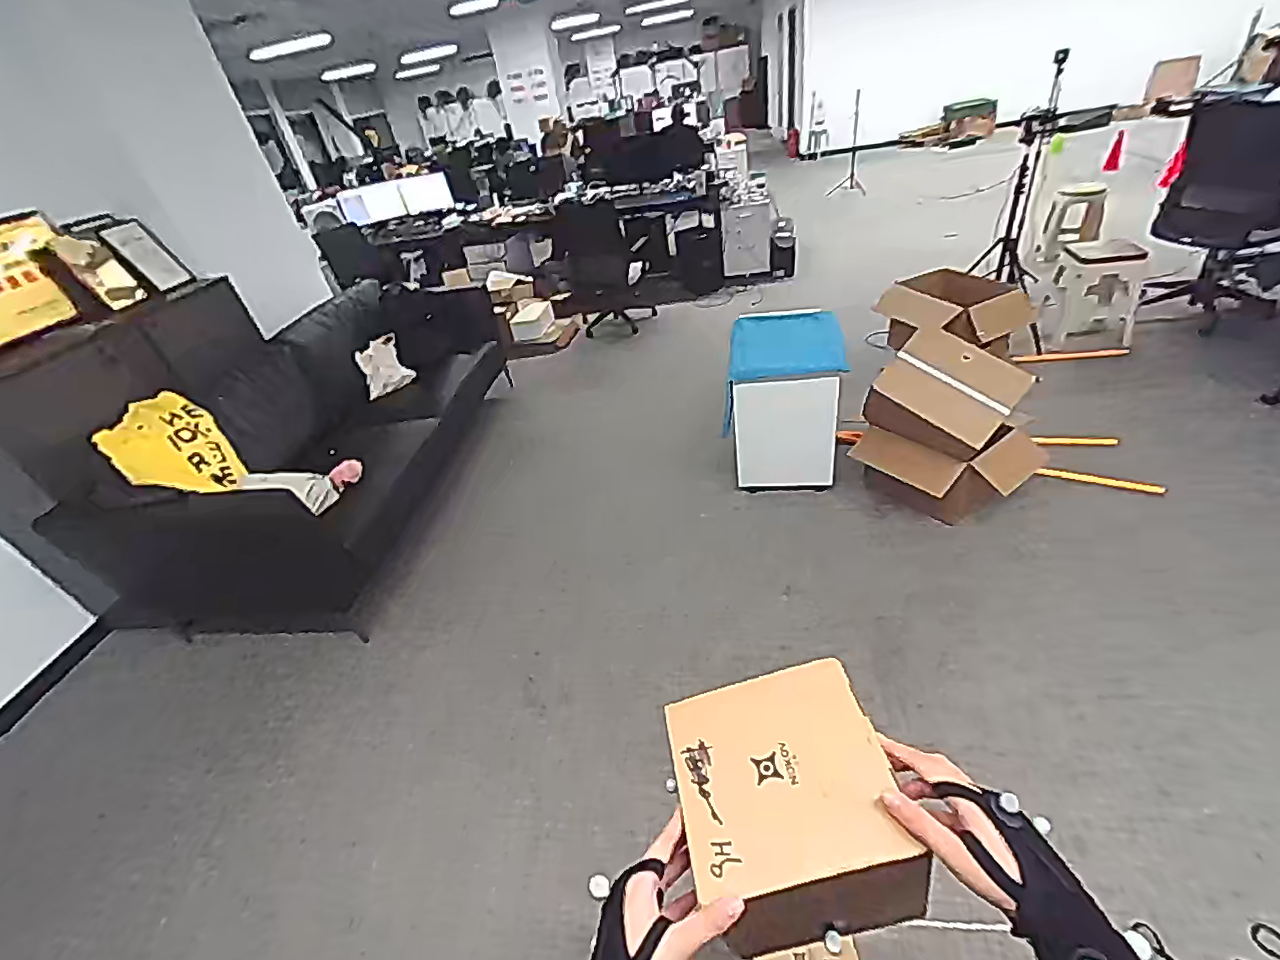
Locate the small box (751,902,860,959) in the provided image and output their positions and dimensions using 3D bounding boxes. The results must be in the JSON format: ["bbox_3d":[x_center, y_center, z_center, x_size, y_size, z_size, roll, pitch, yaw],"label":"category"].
[{"bbox_3d":[0.293,0.872,0.949,0.179,0.176,0.168,-4,37,10],"label":"small box"}]
